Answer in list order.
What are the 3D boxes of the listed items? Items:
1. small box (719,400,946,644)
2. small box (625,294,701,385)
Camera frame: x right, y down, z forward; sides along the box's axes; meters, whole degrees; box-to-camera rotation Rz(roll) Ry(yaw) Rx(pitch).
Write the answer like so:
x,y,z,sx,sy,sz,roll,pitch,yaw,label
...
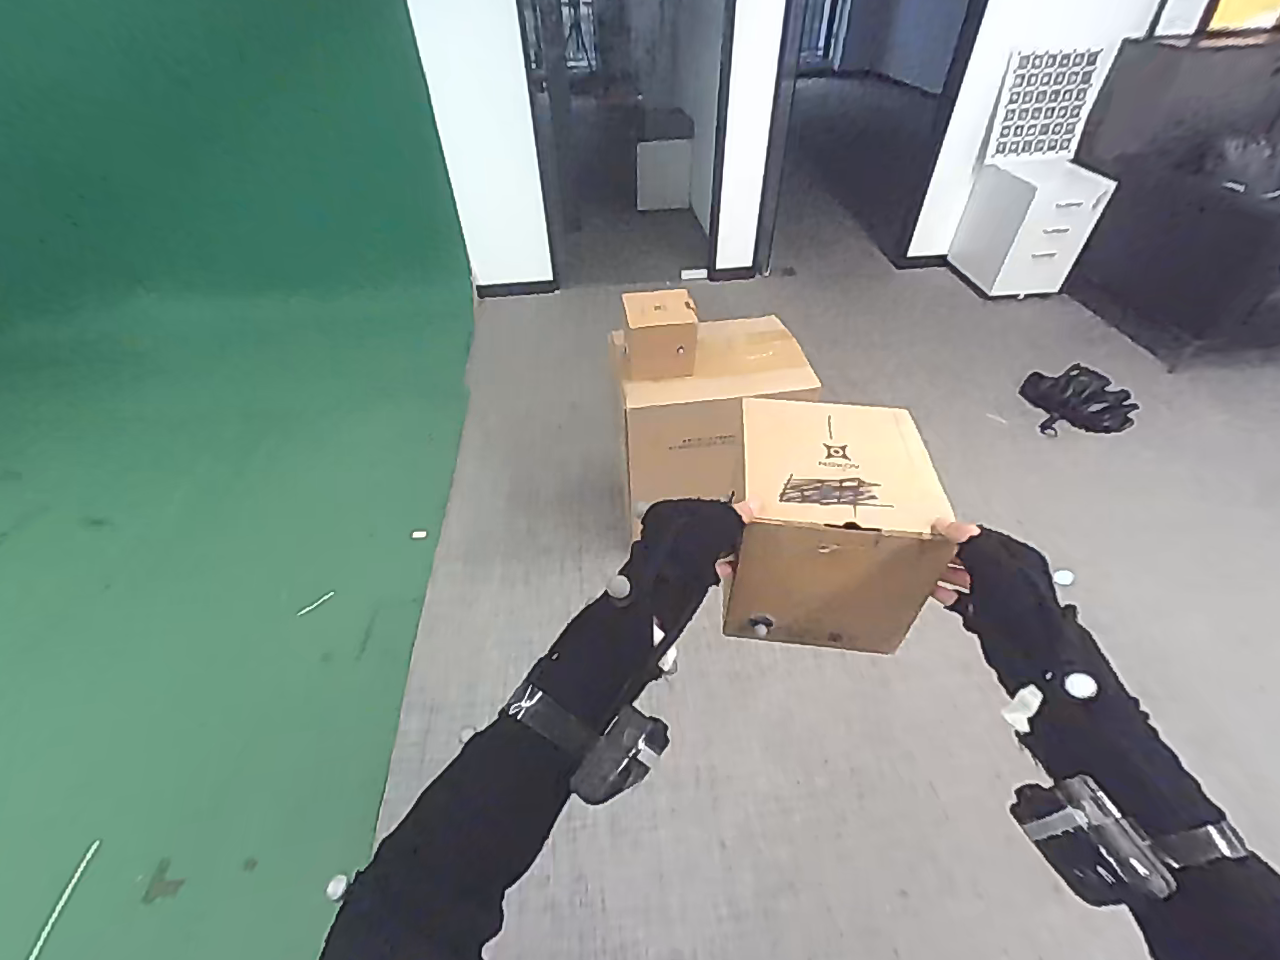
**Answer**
x,y,z,sx,sy,sz,roll,pitch,yaw,label
0.170,0.041,0.541,0.168,0.176,0.179,5,41,6,small box
0.059,-0.377,1.458,0.179,0.176,0.168,-8,48,-4,small box
